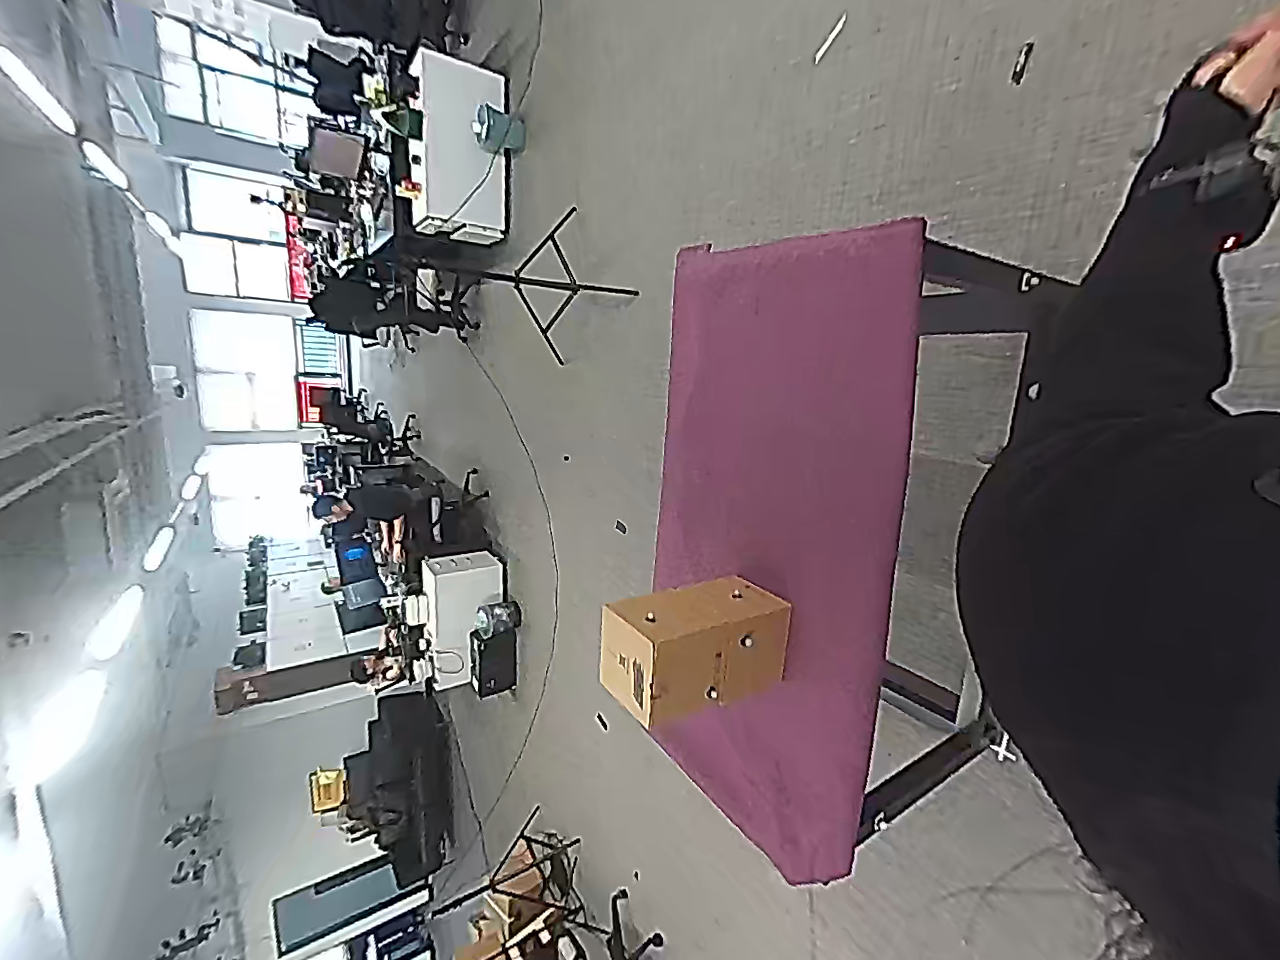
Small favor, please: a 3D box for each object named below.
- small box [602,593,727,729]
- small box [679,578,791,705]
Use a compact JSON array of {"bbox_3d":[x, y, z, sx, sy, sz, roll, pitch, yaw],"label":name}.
[{"bbox_3d":[0.045,0.325,1.018,0.179,0.176,0.168,20,110,55],"label":"small box"},{"bbox_3d":[0.186,0.316,1.102,0.168,0.176,0.179,23,113,54],"label":"small box"}]
